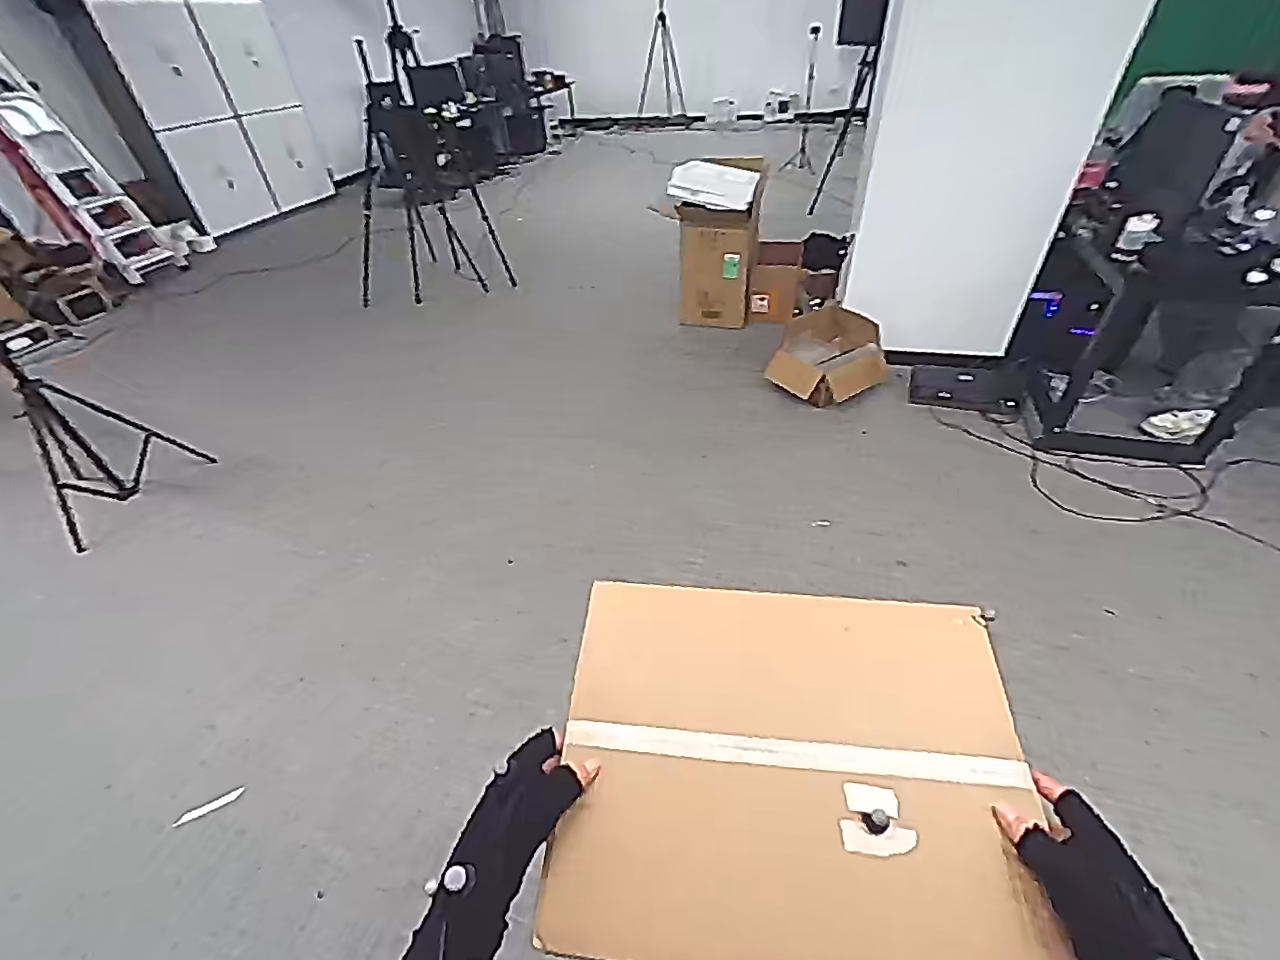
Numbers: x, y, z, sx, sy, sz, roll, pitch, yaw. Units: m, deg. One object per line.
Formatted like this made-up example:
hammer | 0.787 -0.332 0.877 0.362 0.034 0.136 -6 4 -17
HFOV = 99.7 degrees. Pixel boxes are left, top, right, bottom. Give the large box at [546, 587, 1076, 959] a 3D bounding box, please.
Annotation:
large box | 0.139 0.338 0.609 0.408 0.320 0.320 2 53 5
